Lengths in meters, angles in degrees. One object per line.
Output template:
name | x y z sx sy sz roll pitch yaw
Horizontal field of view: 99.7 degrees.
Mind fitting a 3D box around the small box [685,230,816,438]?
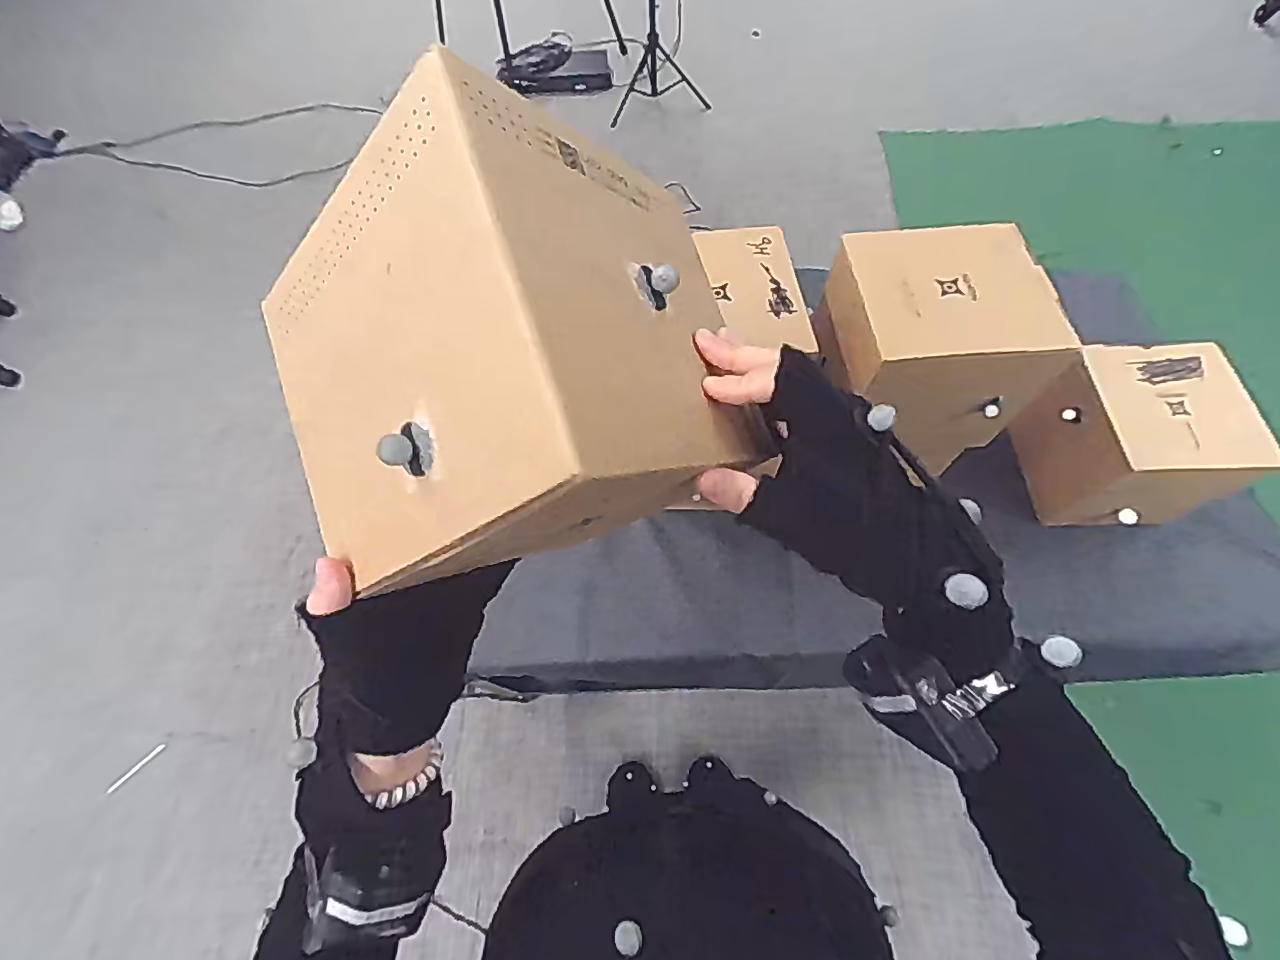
small box | 0.072 -0.139 0.592 0.179 0.176 0.168 -7 64 1

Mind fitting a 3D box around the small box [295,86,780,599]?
small box | -0.056 -0.055 0.296 0.179 0.168 0.176 -25 80 33
